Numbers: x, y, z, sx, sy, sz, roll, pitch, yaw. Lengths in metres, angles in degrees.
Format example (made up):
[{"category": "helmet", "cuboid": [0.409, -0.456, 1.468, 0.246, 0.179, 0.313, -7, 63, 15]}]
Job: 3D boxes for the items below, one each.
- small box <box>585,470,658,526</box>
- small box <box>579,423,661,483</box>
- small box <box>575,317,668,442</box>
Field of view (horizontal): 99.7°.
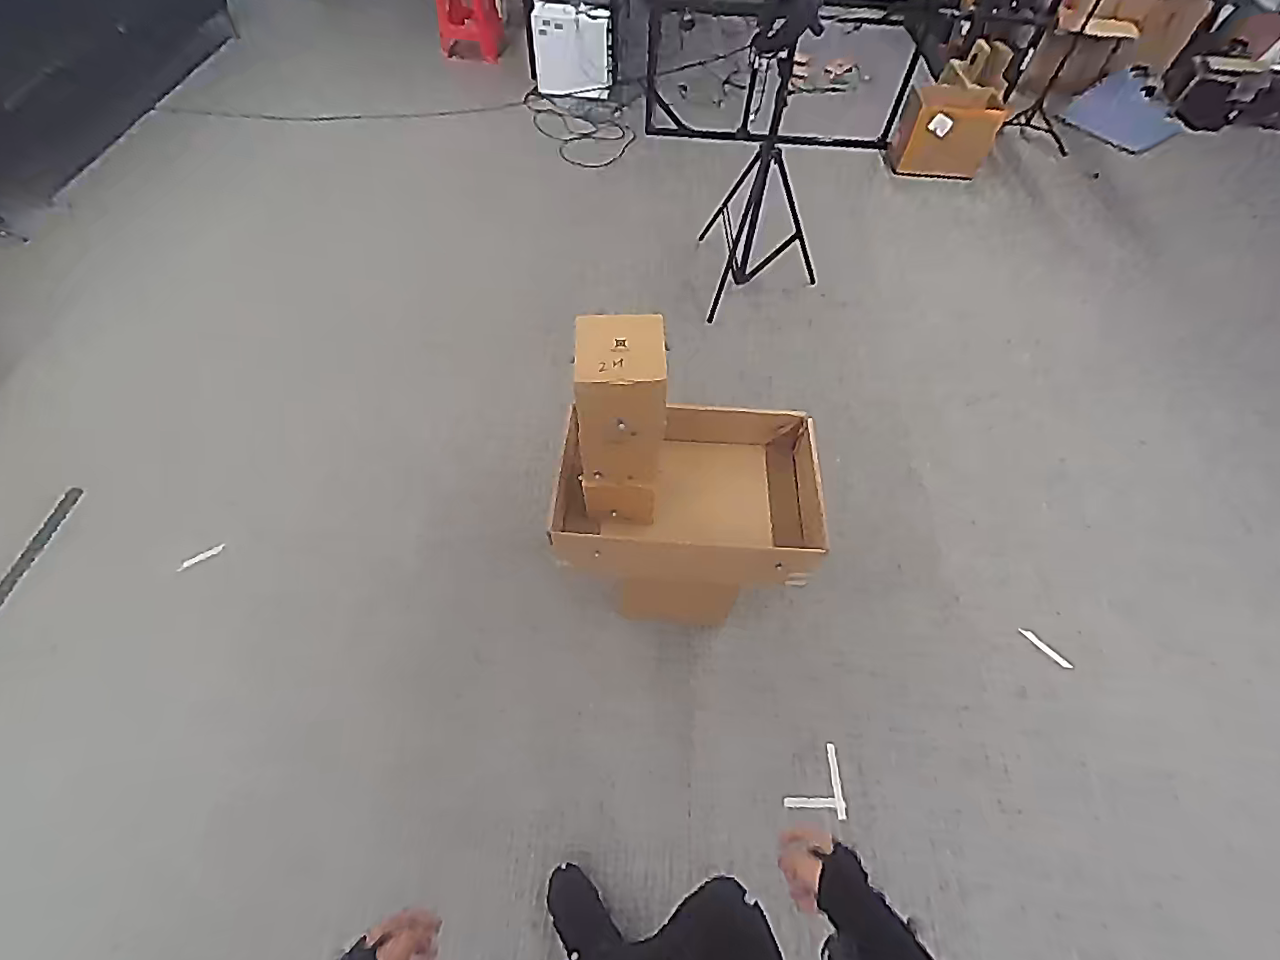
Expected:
[{"category": "small box", "cuboid": [-0.041, -0.008, 1.319, 0.168, 0.176, 0.179, 2, 57, 1]}, {"category": "small box", "cuboid": [-0.036, -0.108, 1.189, 0.168, 0.176, 0.179, 2, 56, 1]}, {"category": "small box", "cuboid": [-0.035, -0.193, 1.047, 0.168, 0.176, 0.179, -1, 58, -1]}]
